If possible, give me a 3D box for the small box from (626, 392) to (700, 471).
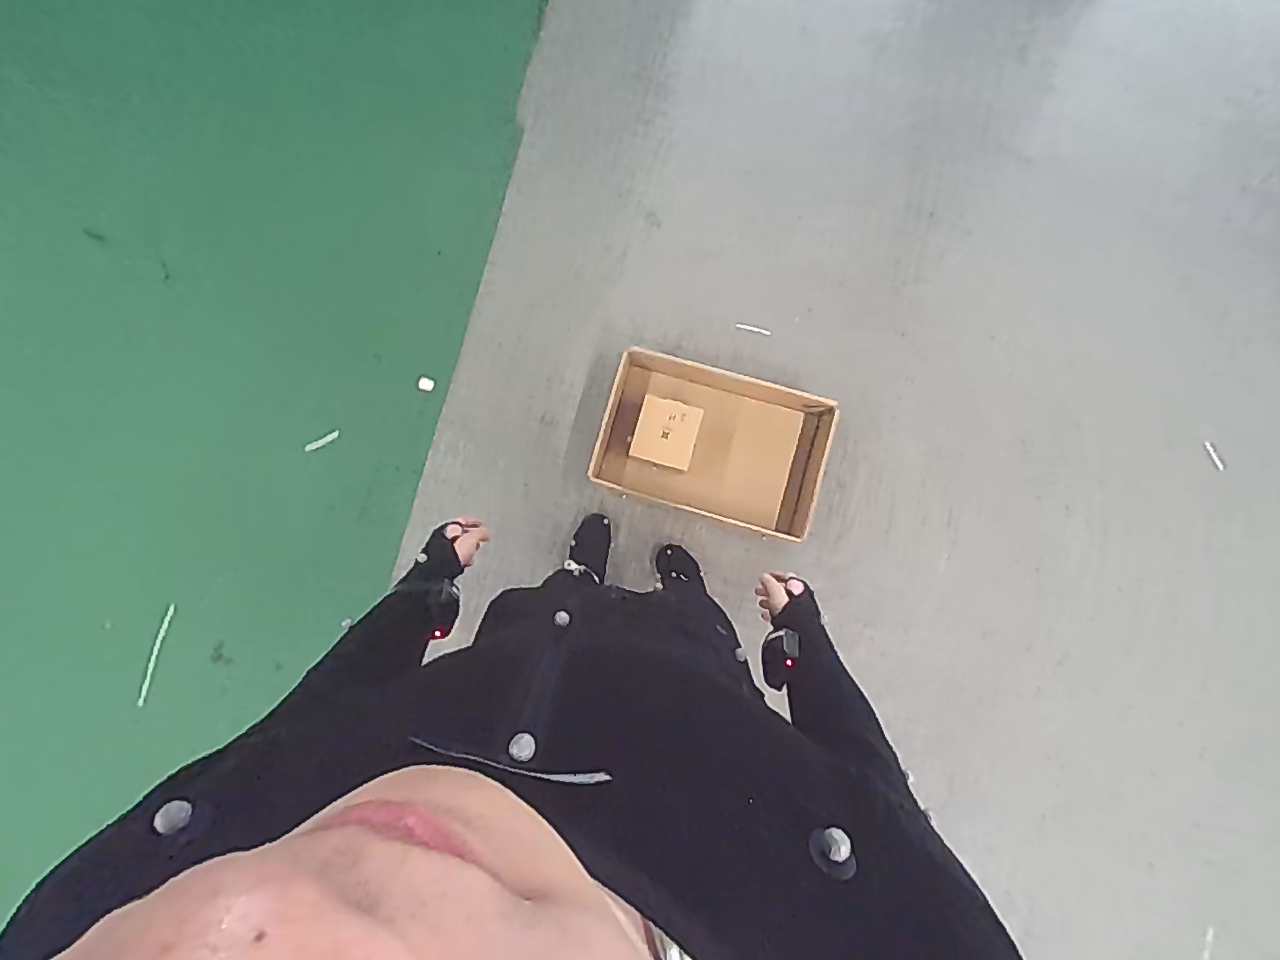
[{"bbox_3d":[0.065,-0.130,1.538,0.168,0.176,0.179,16,87,1],"label":"small box"}]
